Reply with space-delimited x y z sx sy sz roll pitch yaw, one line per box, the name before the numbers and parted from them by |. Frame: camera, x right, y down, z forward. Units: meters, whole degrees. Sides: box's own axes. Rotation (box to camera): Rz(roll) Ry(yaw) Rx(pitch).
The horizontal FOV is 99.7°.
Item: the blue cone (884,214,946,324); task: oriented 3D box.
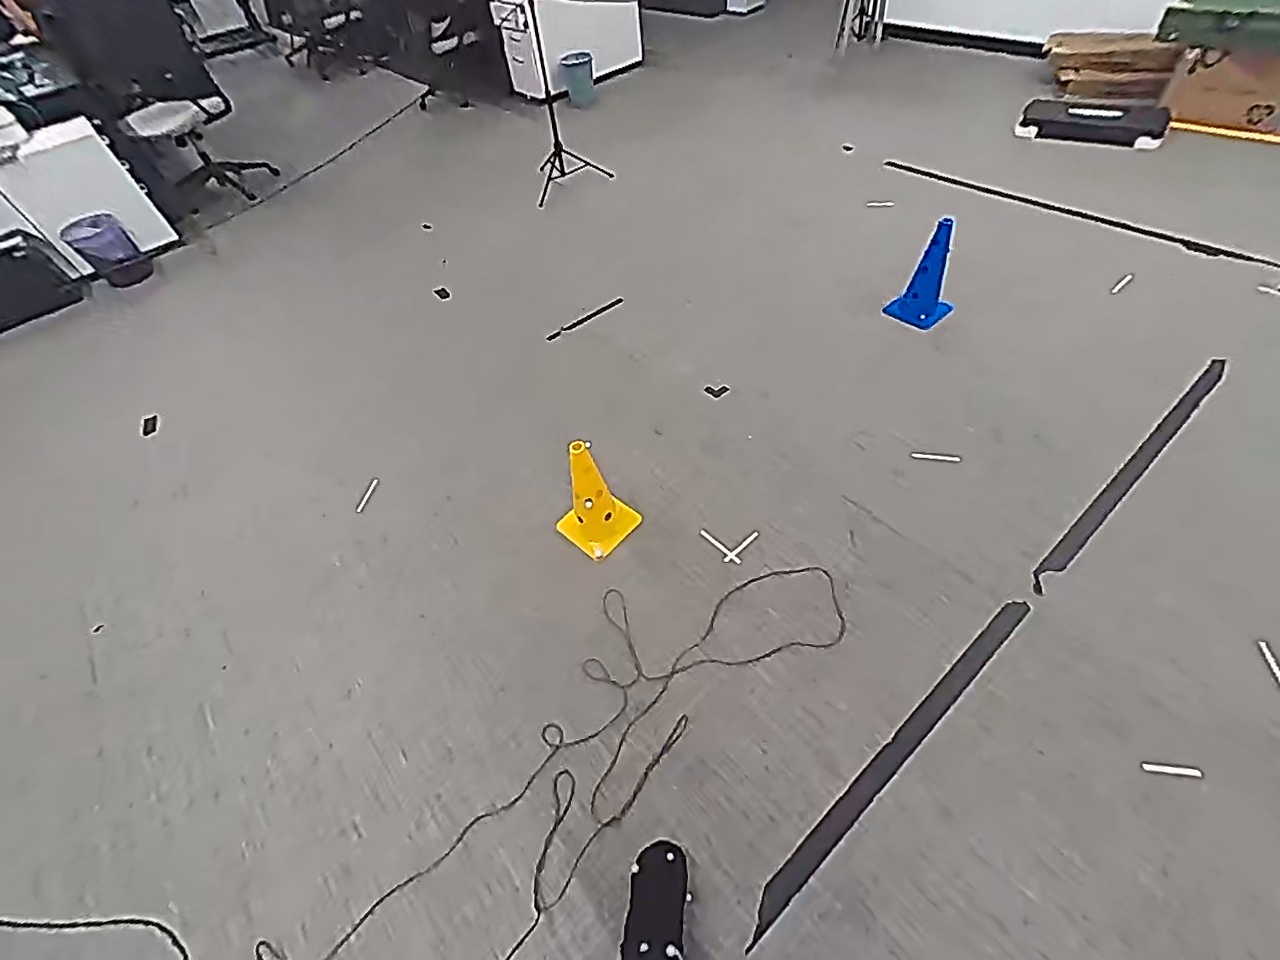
blue cone | 1.070 -0.788 2.008 0.193 0.380 0.192 -36 54 -20
